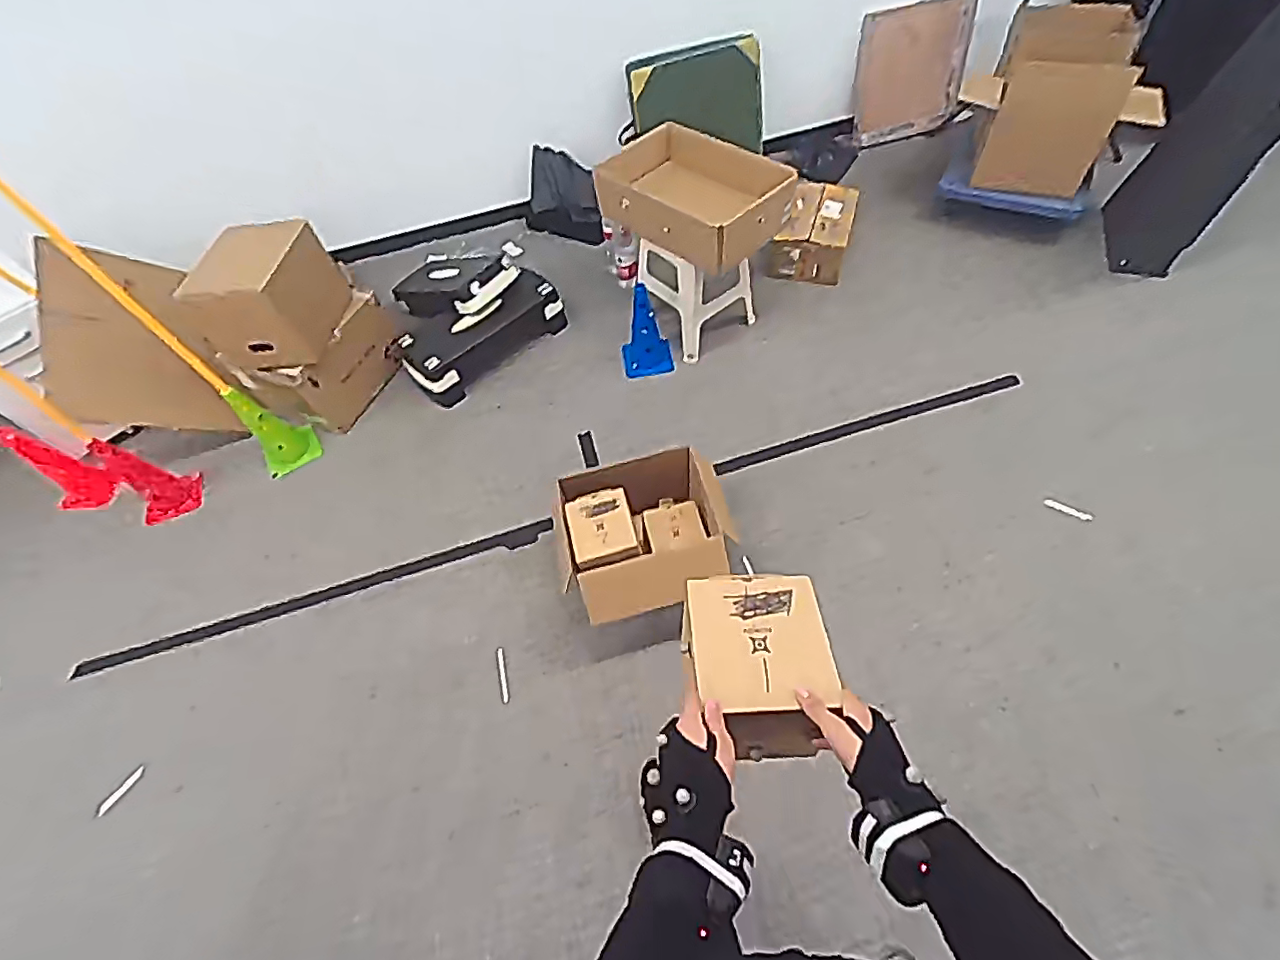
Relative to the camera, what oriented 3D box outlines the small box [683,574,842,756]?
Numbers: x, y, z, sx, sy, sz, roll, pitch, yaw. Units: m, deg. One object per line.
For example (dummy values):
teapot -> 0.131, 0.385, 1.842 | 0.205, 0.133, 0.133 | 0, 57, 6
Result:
small box -> 0.147, 0.247, 0.723 | 0.168, 0.176, 0.179 | -3, 46, 0
